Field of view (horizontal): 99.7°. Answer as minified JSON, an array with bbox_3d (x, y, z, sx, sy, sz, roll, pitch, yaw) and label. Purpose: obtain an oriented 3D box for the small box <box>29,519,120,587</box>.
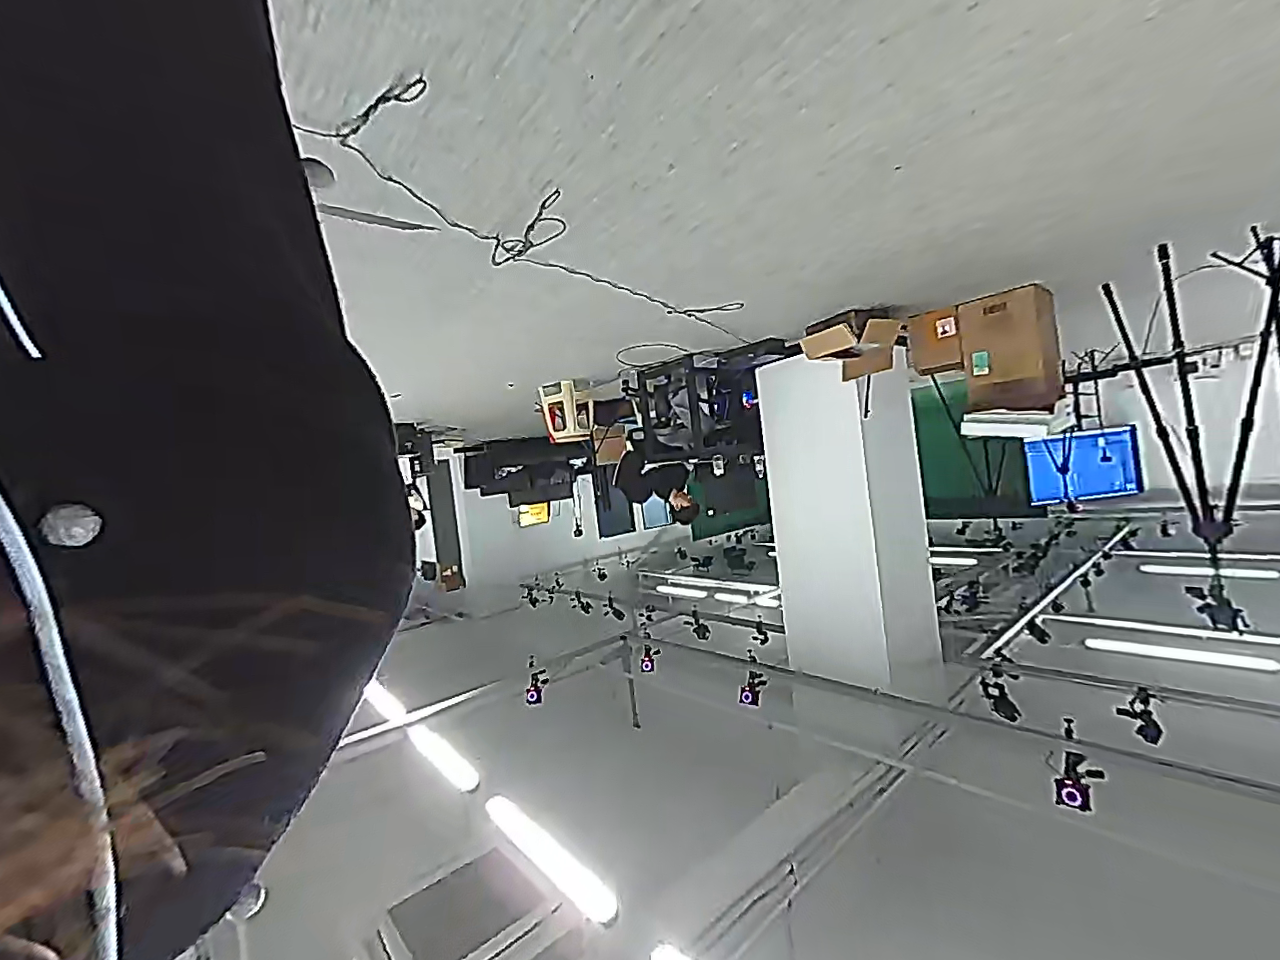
[{"bbox_3d":[-1.690,0.215,1.620,0.179,0.176,0.168,-8,-178,-43],"label":"small box"}]
